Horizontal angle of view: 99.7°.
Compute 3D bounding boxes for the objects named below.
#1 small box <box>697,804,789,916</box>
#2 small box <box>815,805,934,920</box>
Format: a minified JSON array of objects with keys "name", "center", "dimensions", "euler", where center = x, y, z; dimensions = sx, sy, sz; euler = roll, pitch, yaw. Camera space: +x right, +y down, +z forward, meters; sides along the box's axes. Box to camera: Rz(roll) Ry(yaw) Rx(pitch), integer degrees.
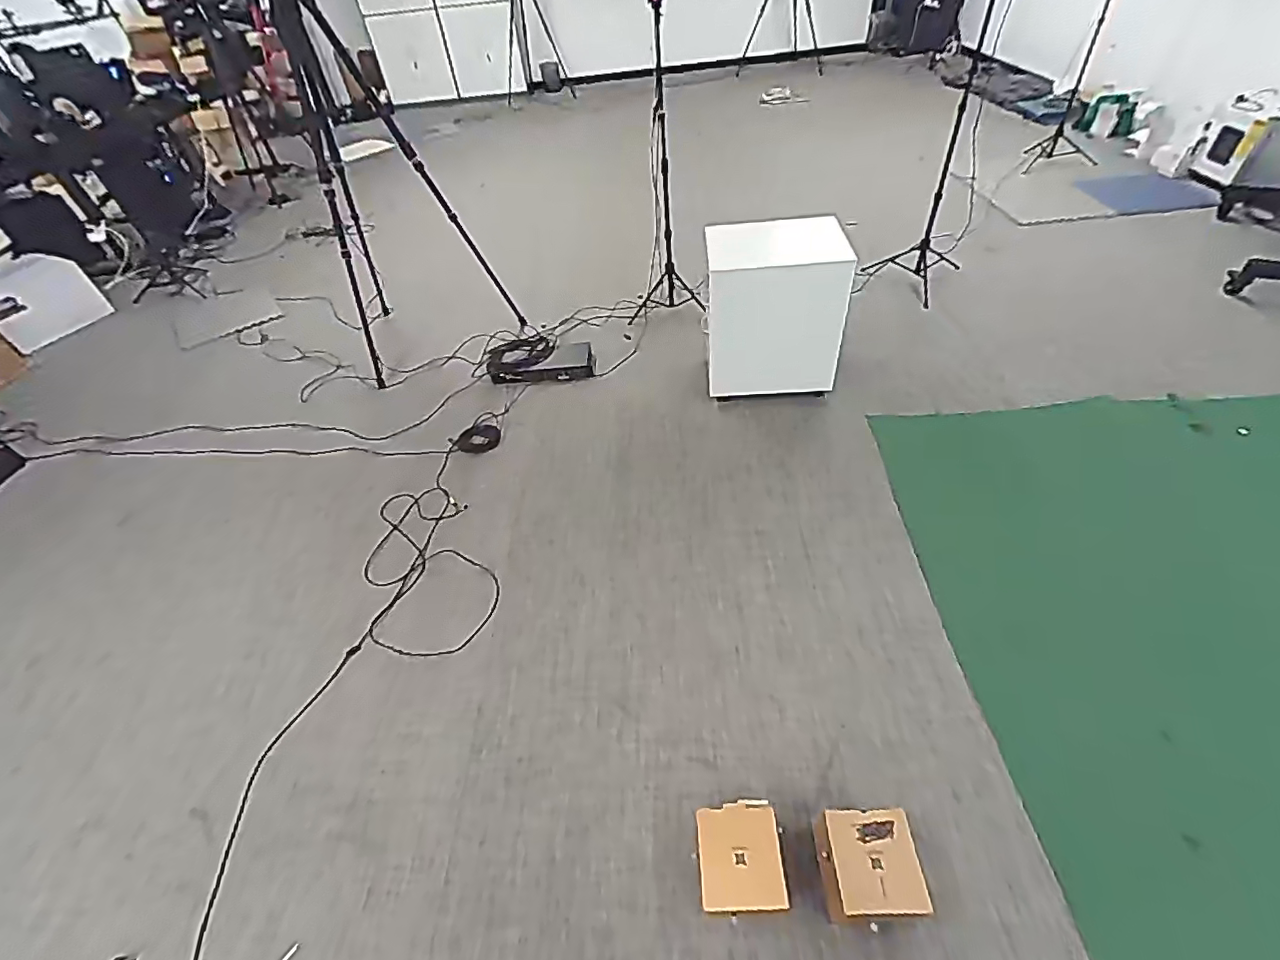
[{"name":"small box","center":[0.212,0.808,1.146],"dimensions":[0.168,0.176,0.179],"euler":[-4,46,3]},{"name":"small box","center":[0.474,0.796,1.125],"dimensions":[0.168,0.176,0.179],"euler":[-3,47,3]}]
